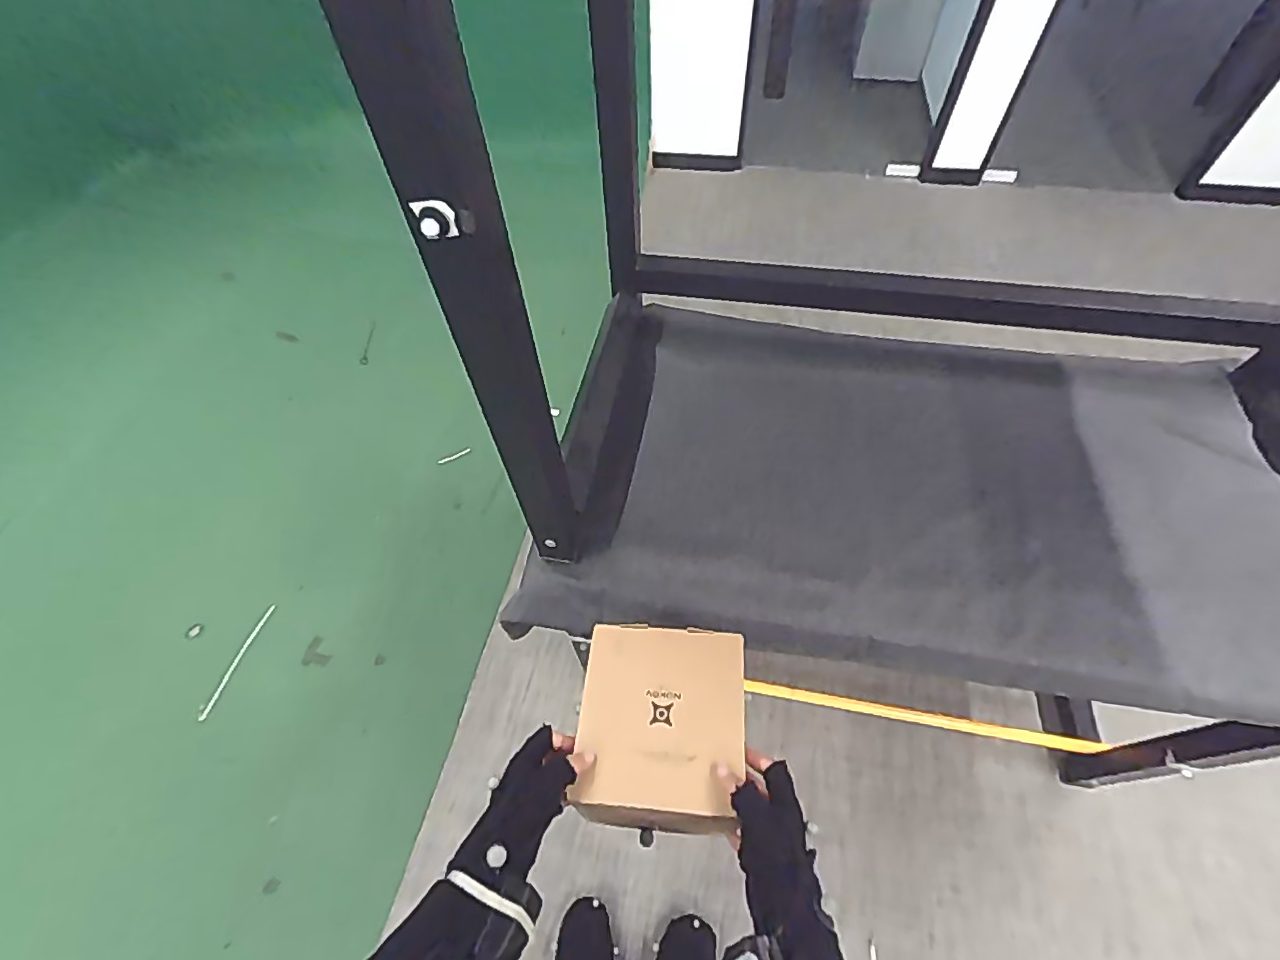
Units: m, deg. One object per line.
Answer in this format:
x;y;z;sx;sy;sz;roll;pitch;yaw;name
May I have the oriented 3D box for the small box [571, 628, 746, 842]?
0.028;0.289;0.611;0.168;0.176;0.179;2;51;7;small box
